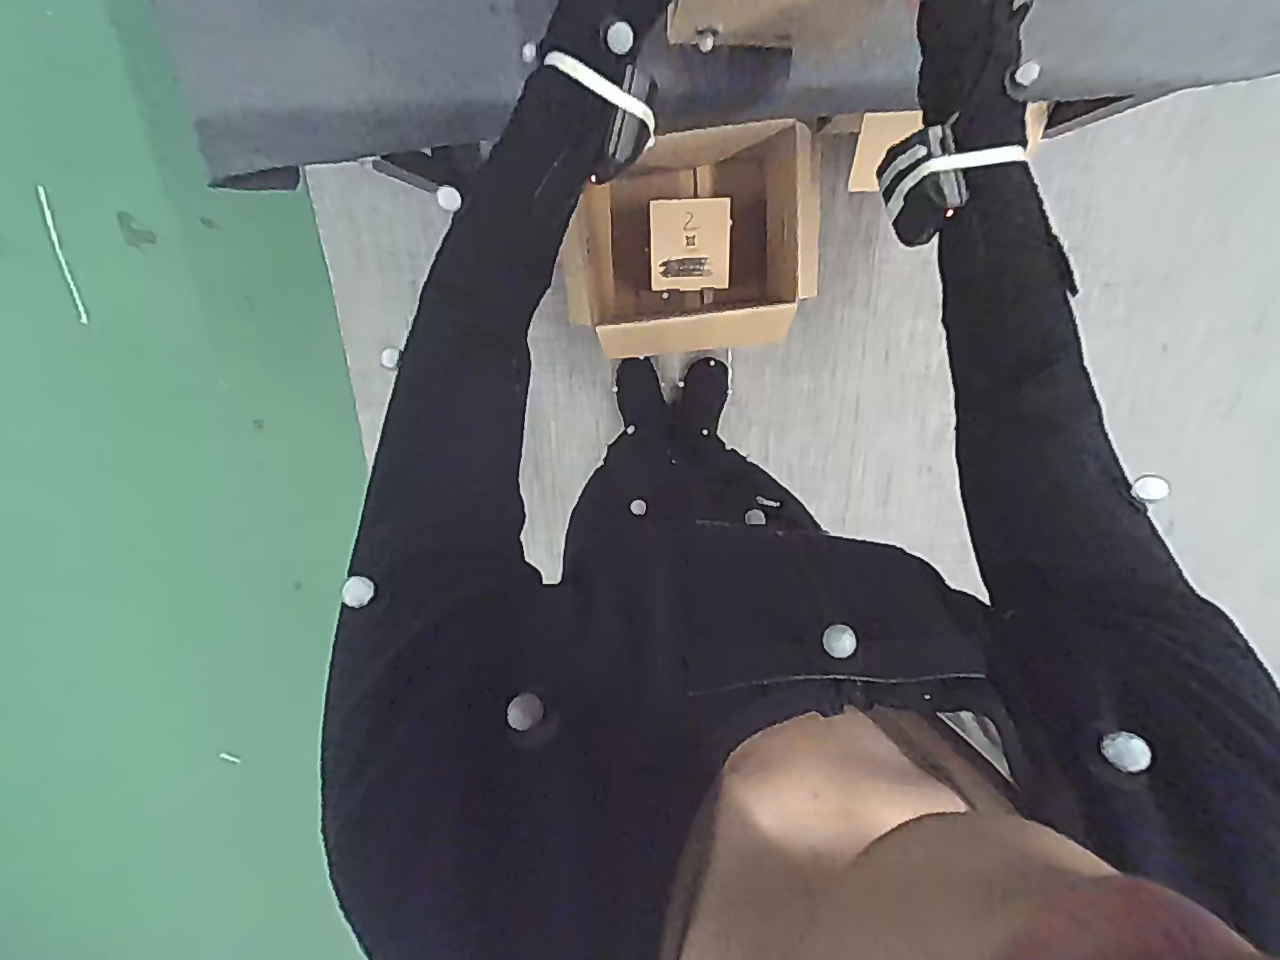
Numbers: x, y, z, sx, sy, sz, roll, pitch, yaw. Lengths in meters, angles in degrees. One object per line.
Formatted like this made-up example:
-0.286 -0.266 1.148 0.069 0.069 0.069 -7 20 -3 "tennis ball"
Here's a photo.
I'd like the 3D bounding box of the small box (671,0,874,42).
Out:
0.112 -0.456 0.395 0.168 0.176 0.179 -1 110 -3 "small box"
